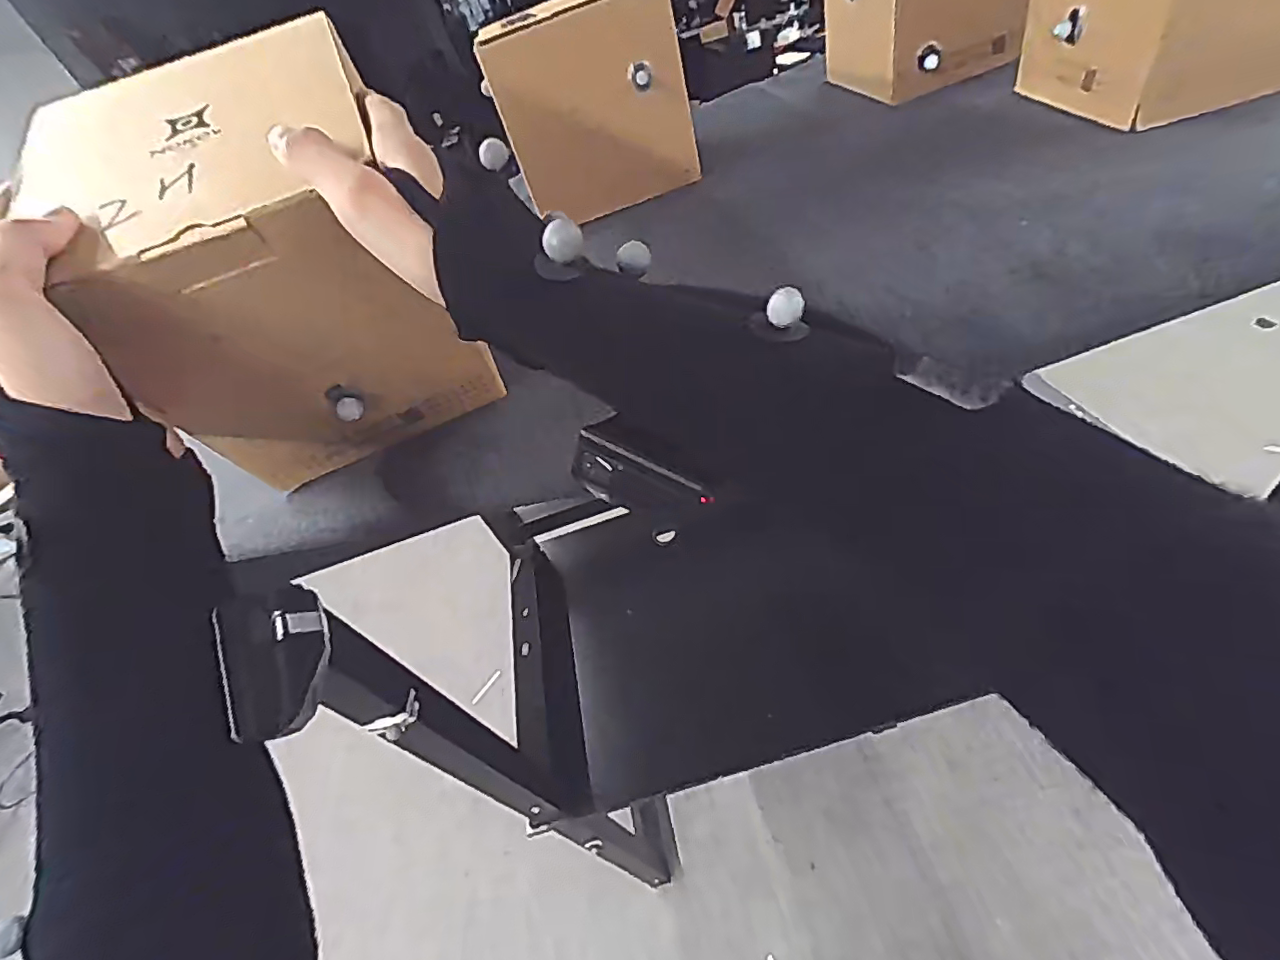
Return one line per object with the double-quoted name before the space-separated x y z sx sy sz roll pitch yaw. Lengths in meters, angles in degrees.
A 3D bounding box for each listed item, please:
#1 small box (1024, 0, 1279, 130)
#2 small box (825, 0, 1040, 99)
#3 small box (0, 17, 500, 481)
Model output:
"small box" 0.400 -0.368 0.360 0.179 0.176 0.168 -13 43 11
"small box" 0.298 -0.515 0.546 0.168 0.176 0.179 -17 43 6
"small box" -0.209 -0.130 0.335 0.168 0.176 0.179 -24 62 -5
